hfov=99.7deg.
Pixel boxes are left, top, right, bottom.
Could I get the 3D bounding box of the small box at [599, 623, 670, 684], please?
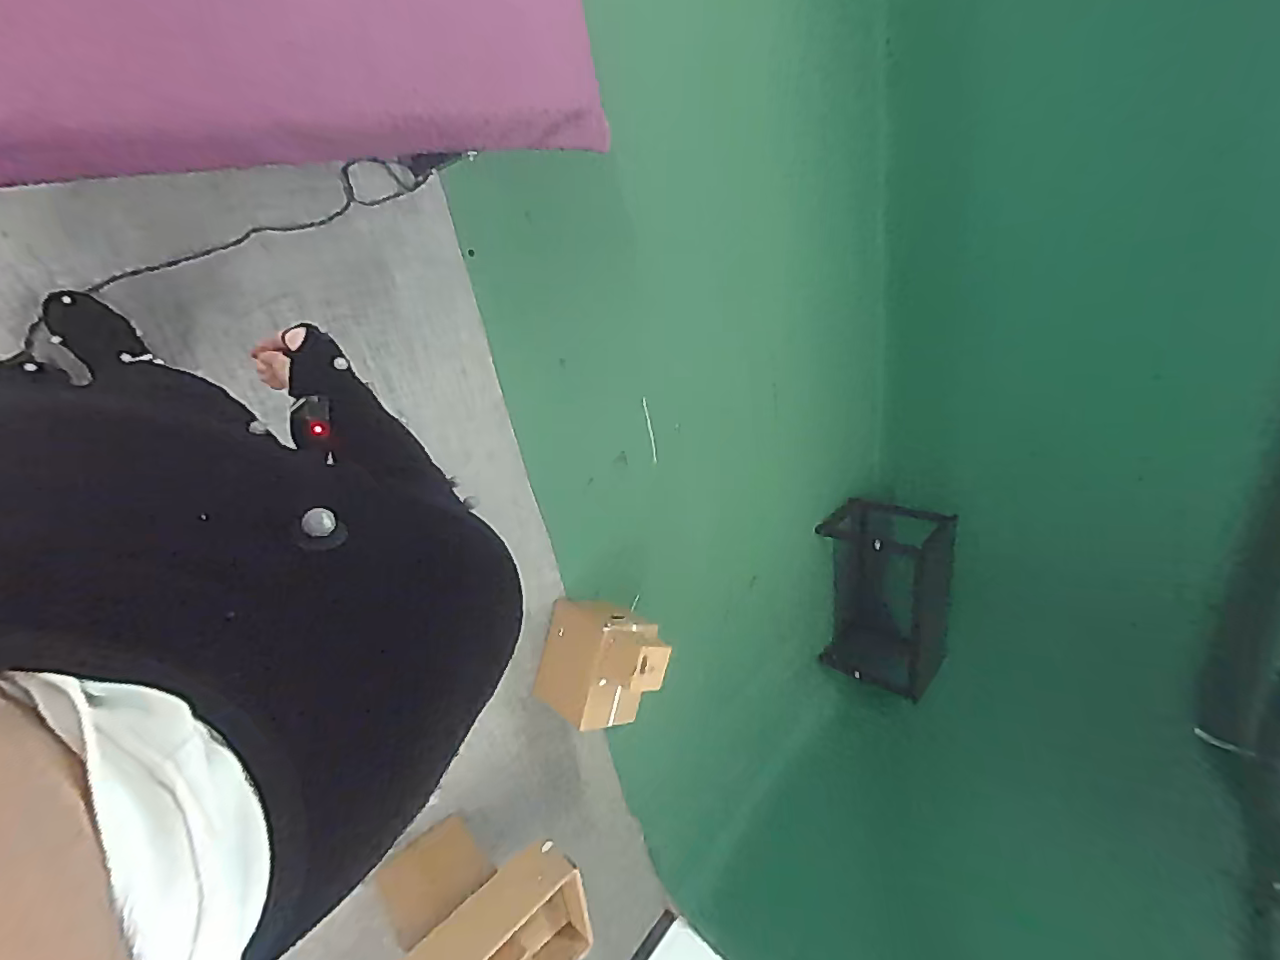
[{"bbox_3d":[-0.024,0.643,2.011,0.179,0.176,0.168,19,87,-47],"label":"small box"}]
